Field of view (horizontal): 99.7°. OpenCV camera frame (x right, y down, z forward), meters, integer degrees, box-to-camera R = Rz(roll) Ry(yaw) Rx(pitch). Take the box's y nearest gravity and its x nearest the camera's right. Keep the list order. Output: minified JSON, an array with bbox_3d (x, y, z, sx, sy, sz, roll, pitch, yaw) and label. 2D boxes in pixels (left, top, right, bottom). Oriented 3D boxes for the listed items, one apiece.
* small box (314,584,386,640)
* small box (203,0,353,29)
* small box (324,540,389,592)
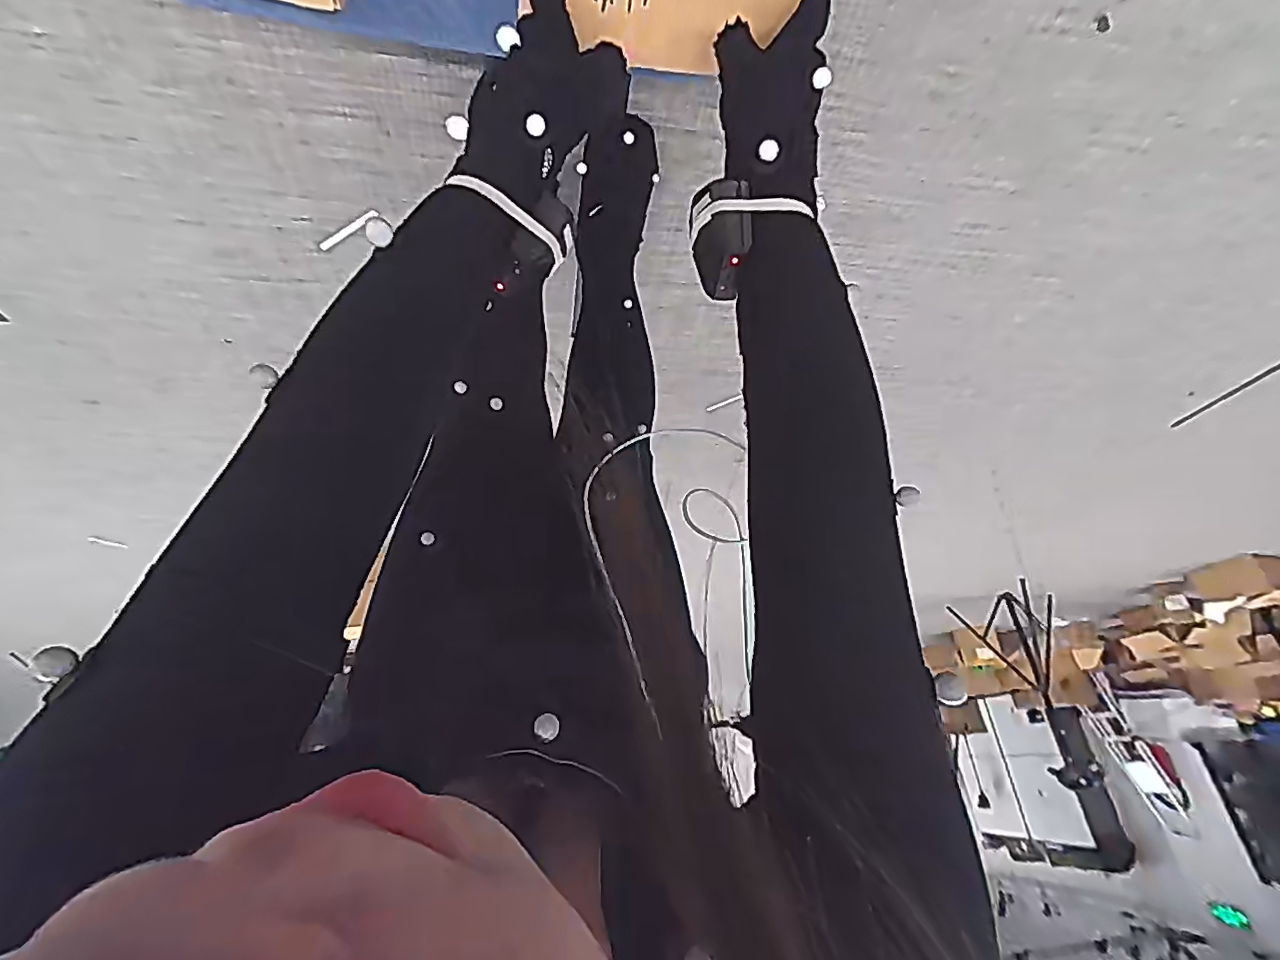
[{"bbox_3d":[-1.064,0.486,1.999,0.179,0.176,0.168,1,152,-7],"label":"small box"},{"bbox_3d":[-0.280,-0.435,0.336,0.179,0.176,0.168,4,150,-13],"label":"small box"},{"bbox_3d":[-1.079,0.340,2.073,0.168,0.176,0.179,0,151,-8],"label":"small box"}]
